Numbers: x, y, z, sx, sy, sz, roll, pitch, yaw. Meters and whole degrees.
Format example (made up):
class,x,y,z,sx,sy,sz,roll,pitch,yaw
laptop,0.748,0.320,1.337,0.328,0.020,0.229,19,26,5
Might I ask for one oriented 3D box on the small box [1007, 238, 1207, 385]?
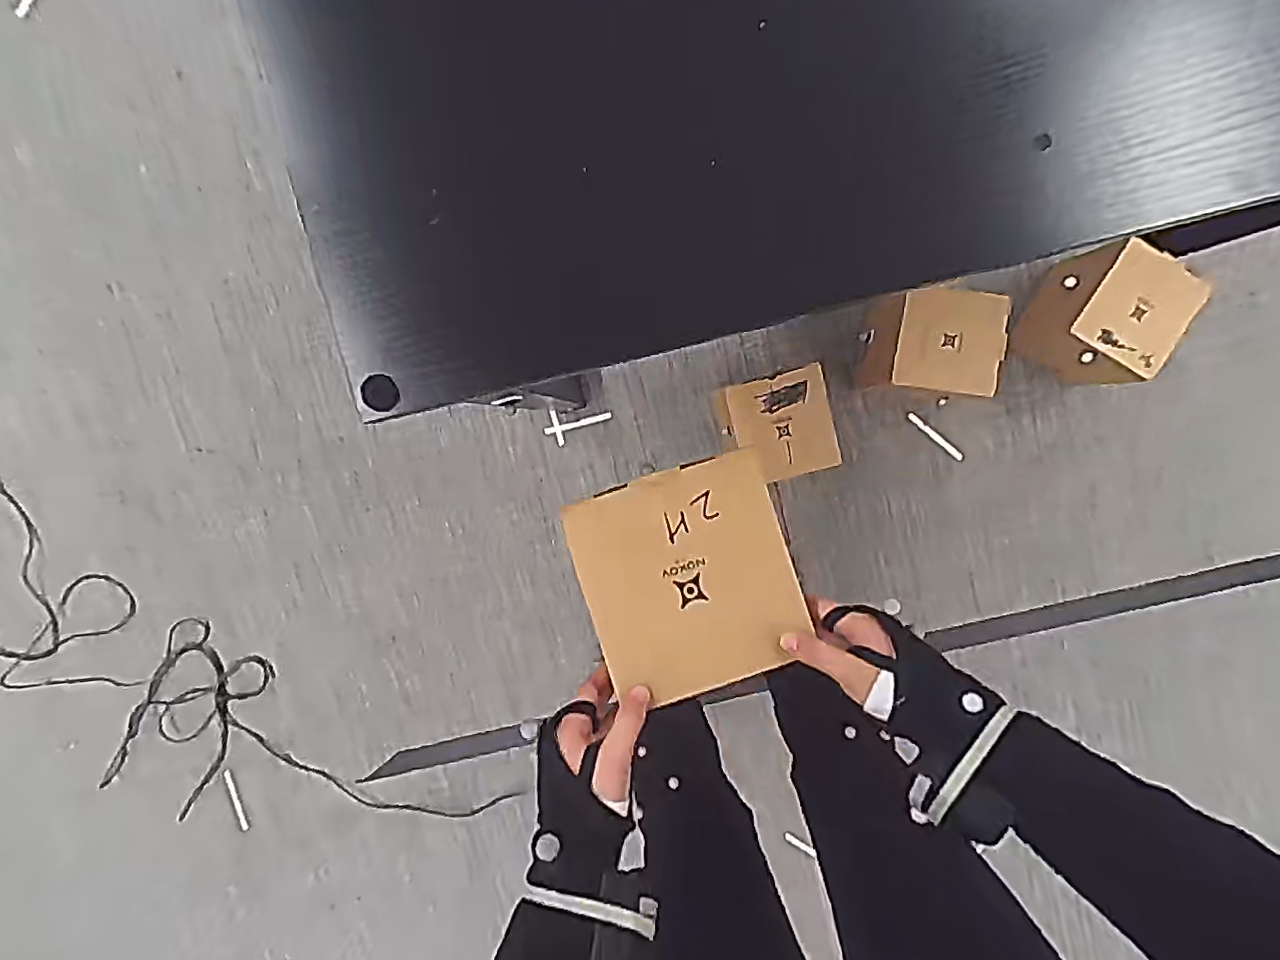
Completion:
class,x,y,z,sx,sy,sz,roll,pitch,yaw
small box,0.802,-0.283,0.952,0.168,0.176,0.179,29,96,-3

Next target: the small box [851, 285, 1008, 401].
class,x,y,z,sx,sy,sz,roll,pitch,yaw
small box,0.503,-0.234,0.963,0.179,0.176,0.168,7,96,1

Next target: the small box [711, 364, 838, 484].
class,x,y,z,sx,sy,sz,roll,pitch,yaw
small box,0.233,-0.099,0.978,0.168,0.176,0.179,-15,98,2

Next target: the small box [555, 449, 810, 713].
class,x,y,z,sx,sy,sz,roll,pitch,yaw
small box,0.034,0.082,0.510,0.168,0.176,0.179,-18,88,-1
